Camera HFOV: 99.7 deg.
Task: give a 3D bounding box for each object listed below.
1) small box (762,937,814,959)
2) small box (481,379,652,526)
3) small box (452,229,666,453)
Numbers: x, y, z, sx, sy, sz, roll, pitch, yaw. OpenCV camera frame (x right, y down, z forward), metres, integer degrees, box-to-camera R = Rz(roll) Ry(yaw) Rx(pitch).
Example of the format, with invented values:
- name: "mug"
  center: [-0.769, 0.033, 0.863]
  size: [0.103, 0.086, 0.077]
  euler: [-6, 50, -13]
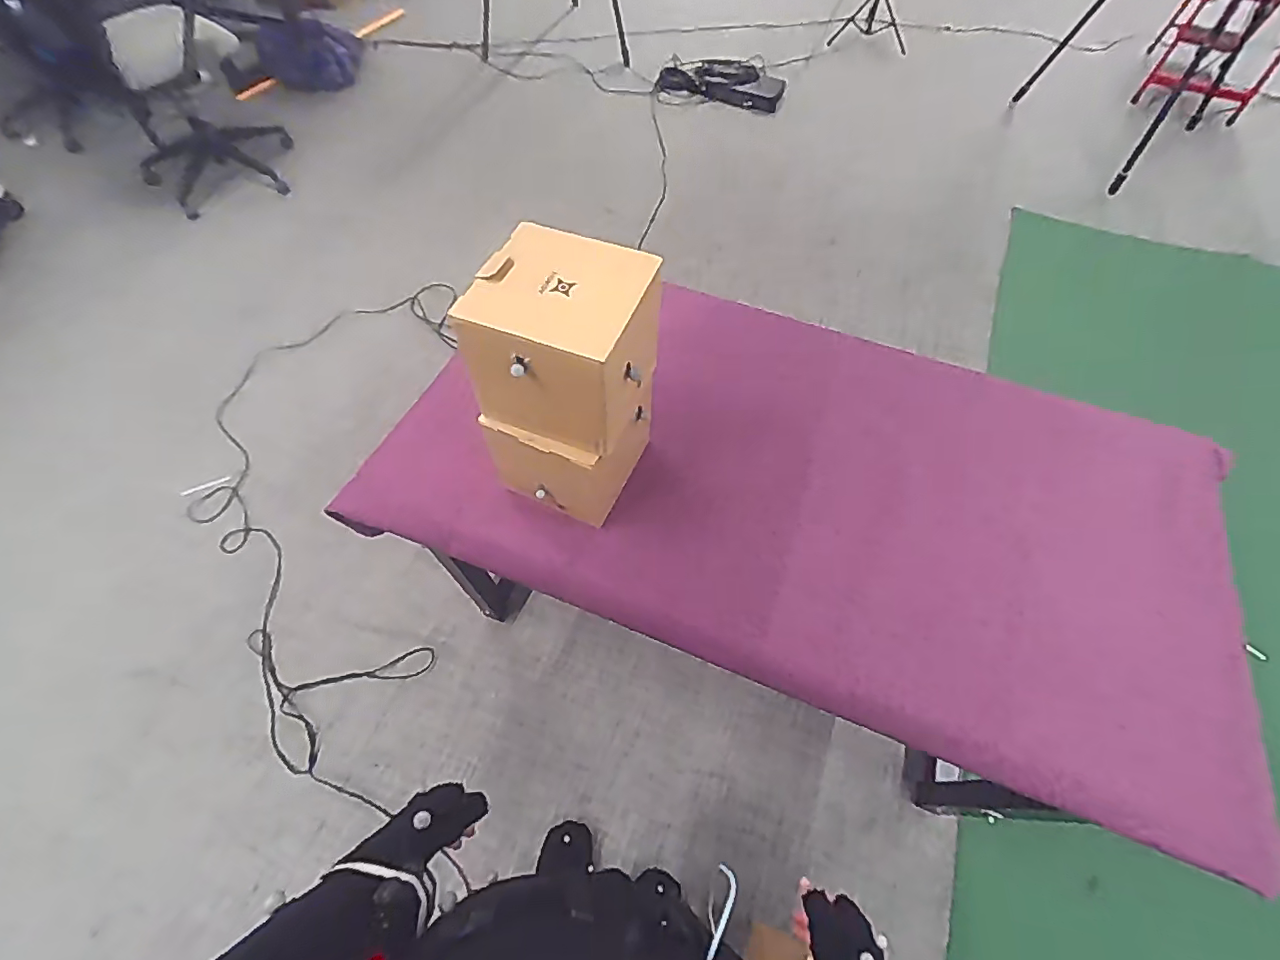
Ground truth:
- name: "small box"
  center: [0.275, 0.897, 0.876]
  size: [0.168, 0.176, 0.179]
  euler: [23, 61, 12]
- name: "small box"
  center: [-0.096, -0.065, 0.772]
  size: [0.168, 0.176, 0.179]
  euler: [23, 62, 12]
- name: "small box"
  center: [-0.083, -0.154, 0.637]
  size: [0.179, 0.176, 0.168]
  euler: [20, 61, 10]
